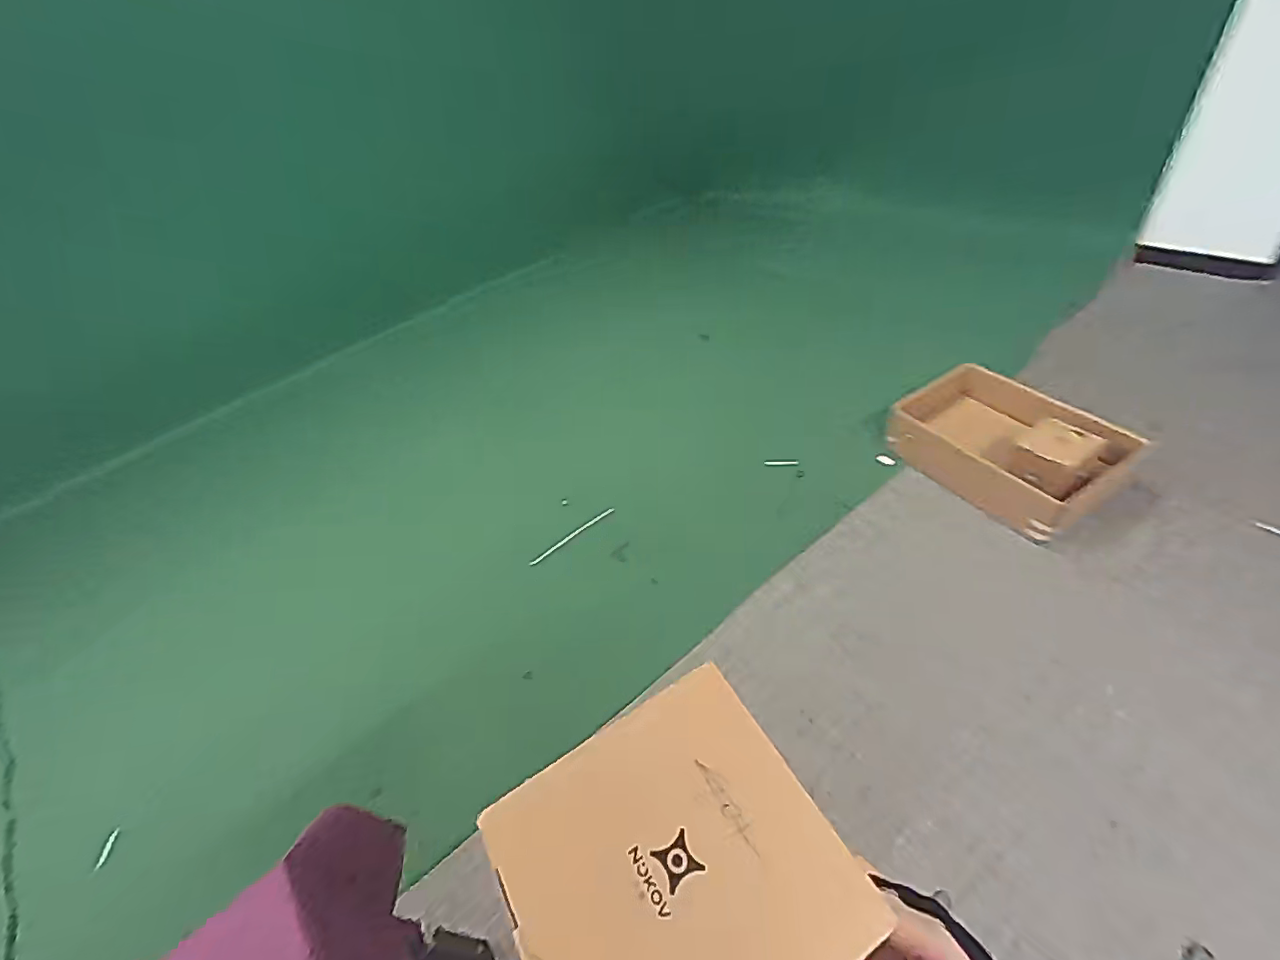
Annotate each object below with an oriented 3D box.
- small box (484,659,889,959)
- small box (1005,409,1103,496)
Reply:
[{"bbox_3d":[0.025,0.261,0.364,0.179,0.176,0.168,-27,54,-14],"label":"small box"},{"bbox_3d":[1.274,-0.082,1.681,0.179,0.176,0.168,-33,46,-15],"label":"small box"}]
